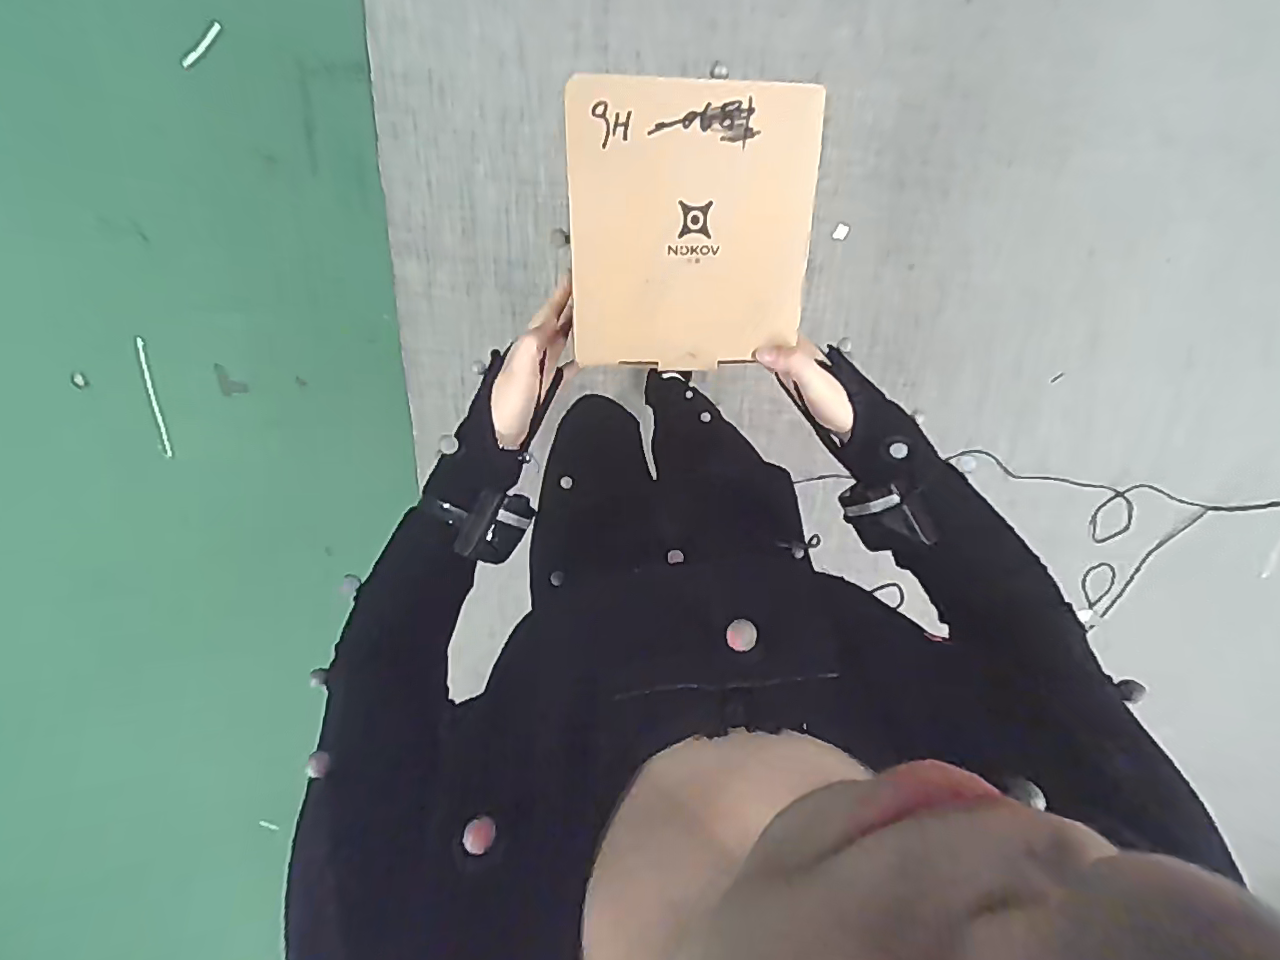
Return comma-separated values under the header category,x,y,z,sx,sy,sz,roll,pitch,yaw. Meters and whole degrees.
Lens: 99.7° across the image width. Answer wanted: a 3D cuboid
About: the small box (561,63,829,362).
category,x,y,z,sx,sy,sz,roll,pitch,yaw
small box,0.026,-0.198,0.430,0.168,0.176,0.179,-2,114,-6
